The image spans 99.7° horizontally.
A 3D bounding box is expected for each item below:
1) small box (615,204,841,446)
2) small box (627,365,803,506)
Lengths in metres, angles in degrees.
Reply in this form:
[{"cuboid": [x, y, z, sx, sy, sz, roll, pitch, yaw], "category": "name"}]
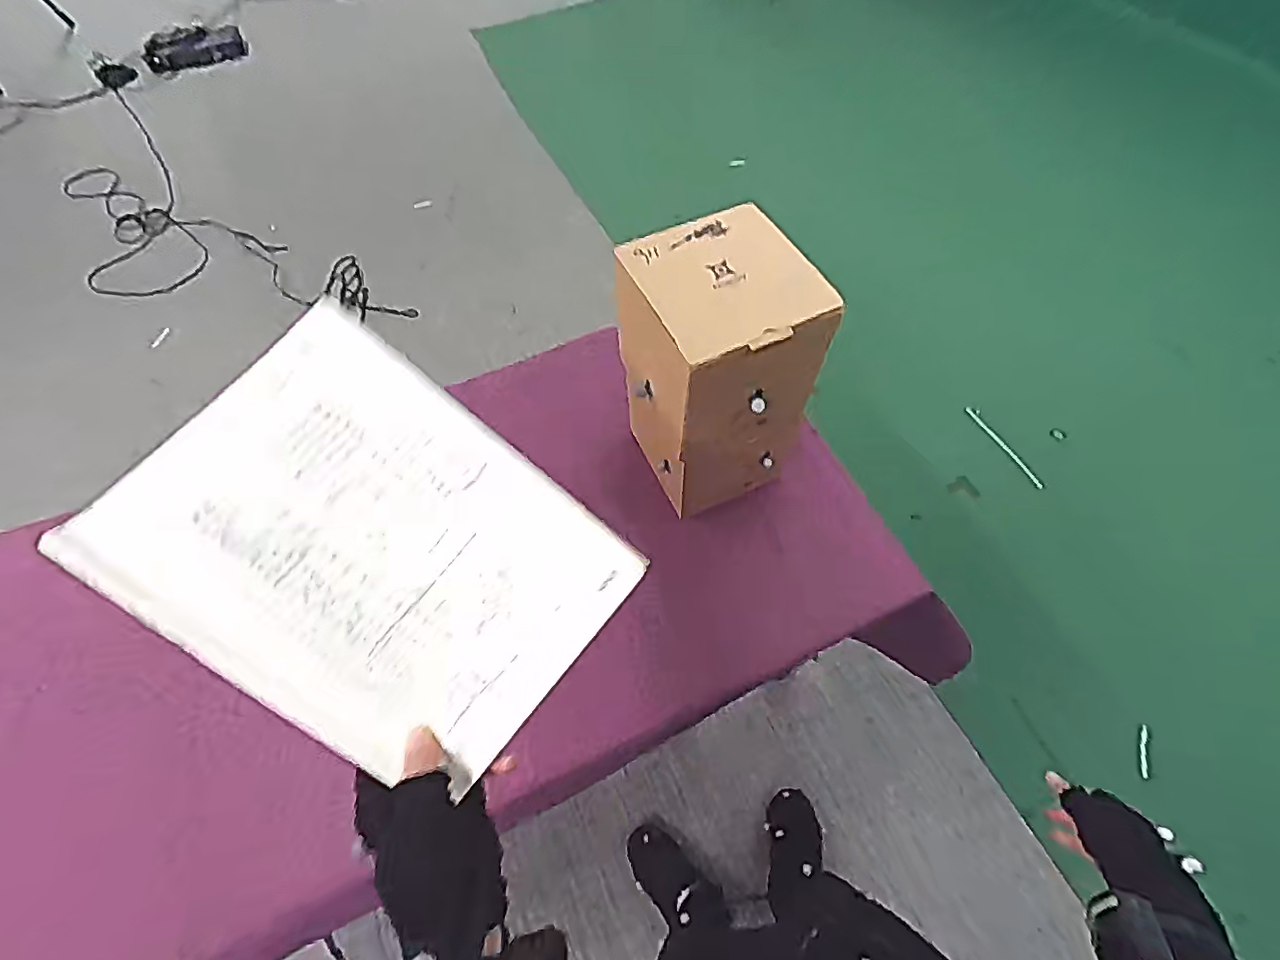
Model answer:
[{"cuboid": [0.083, -0.158, 0.596, 0.168, 0.176, 0.179, -22, 64, -11], "category": "small box"}, {"cuboid": [0.093, -0.083, 0.741, 0.168, 0.176, 0.179, -22, 63, -10], "category": "small box"}]
